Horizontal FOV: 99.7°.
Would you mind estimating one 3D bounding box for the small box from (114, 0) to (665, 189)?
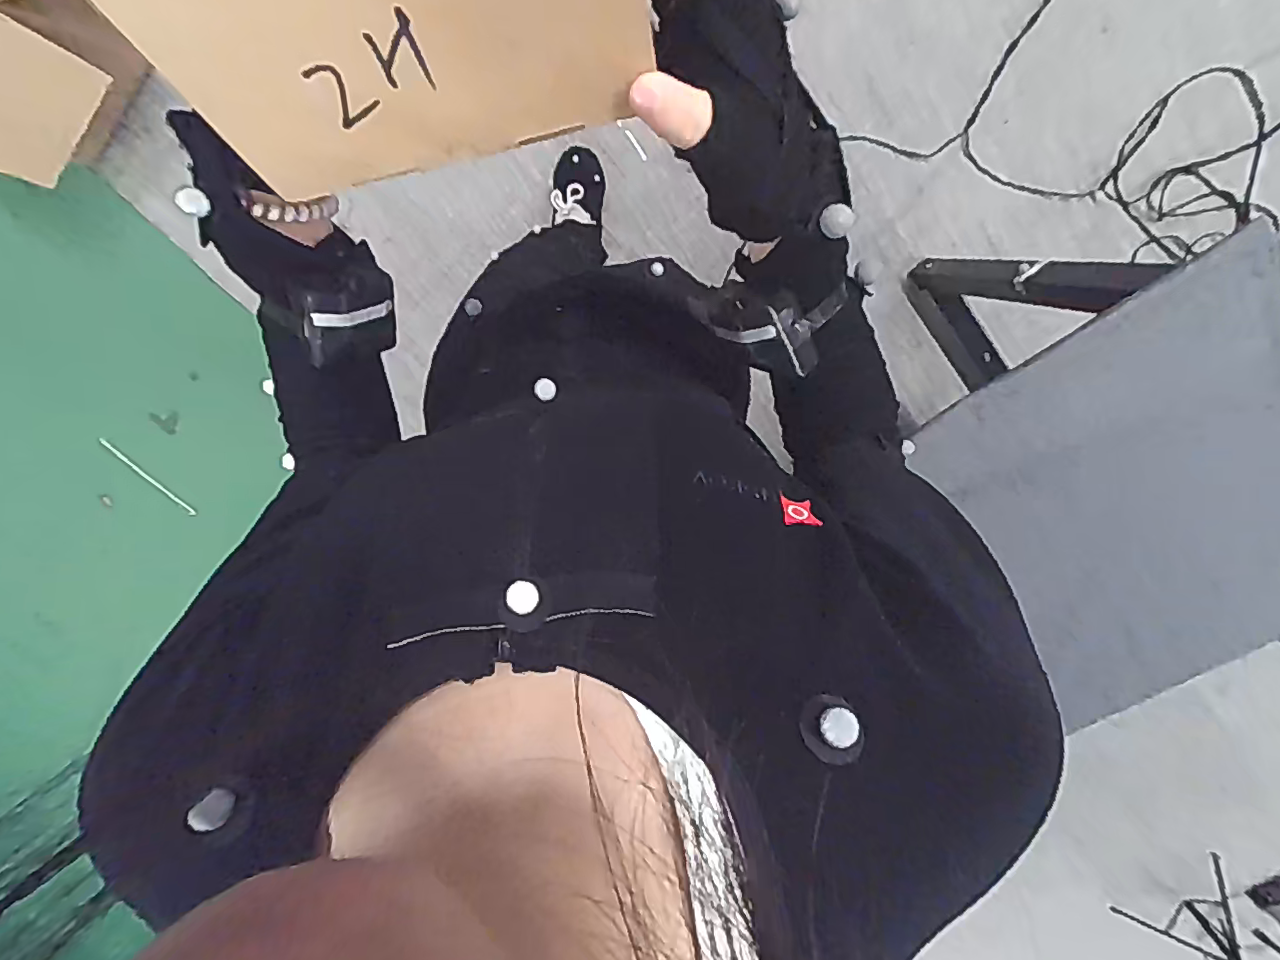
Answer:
[{"bbox_3d":[-0.092,-0.240,0.171,0.168,0.179,0.176,-10,69,5],"label":"small box"}]
